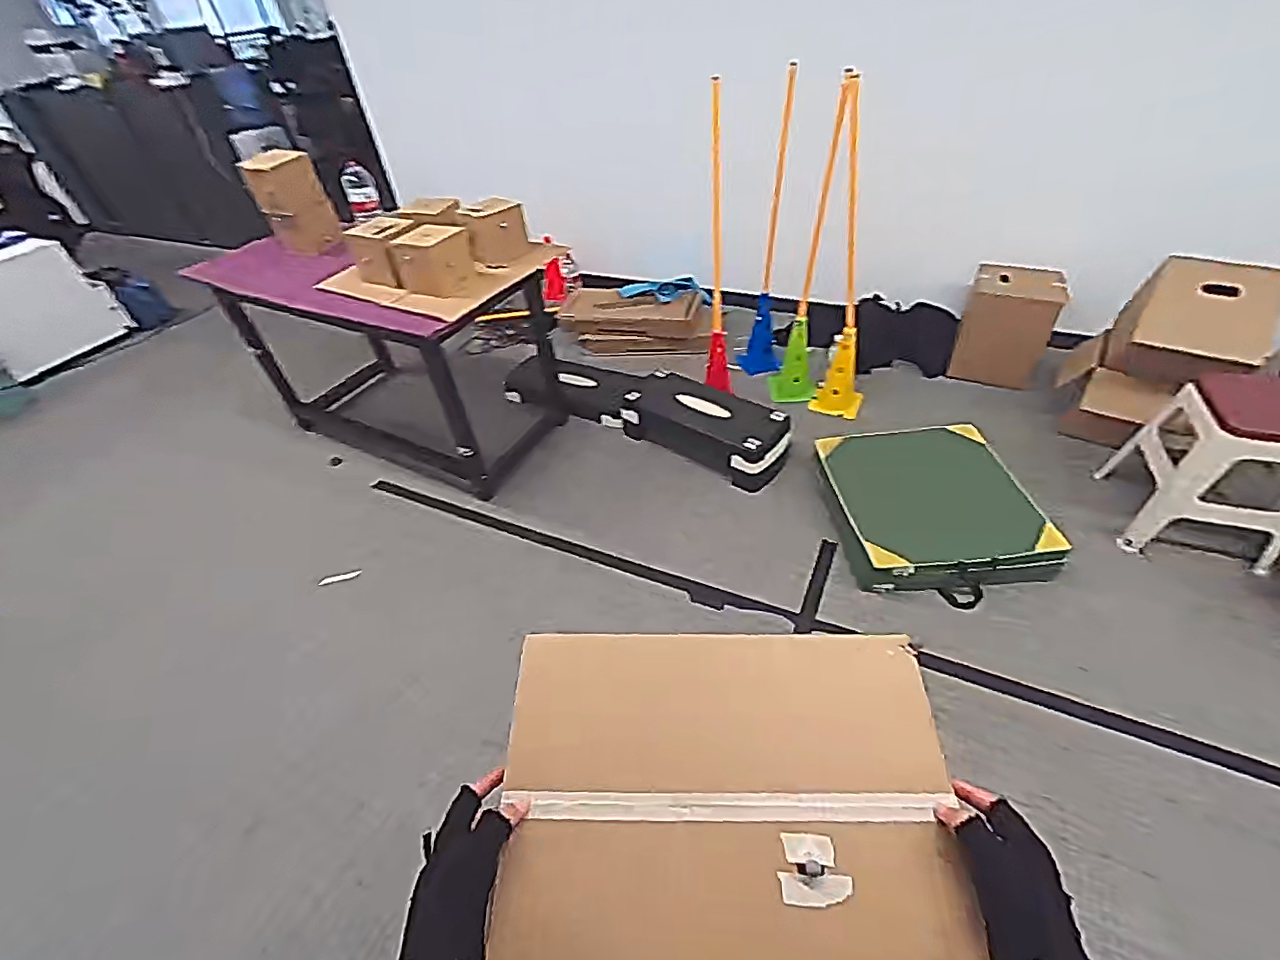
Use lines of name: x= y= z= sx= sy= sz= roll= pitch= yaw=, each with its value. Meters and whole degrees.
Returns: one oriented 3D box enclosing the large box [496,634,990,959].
large box: x=0.084 y=0.382 z=0.621 sx=0.408 sy=0.320 sz=0.320 roll=0 pitch=55 yaw=2
